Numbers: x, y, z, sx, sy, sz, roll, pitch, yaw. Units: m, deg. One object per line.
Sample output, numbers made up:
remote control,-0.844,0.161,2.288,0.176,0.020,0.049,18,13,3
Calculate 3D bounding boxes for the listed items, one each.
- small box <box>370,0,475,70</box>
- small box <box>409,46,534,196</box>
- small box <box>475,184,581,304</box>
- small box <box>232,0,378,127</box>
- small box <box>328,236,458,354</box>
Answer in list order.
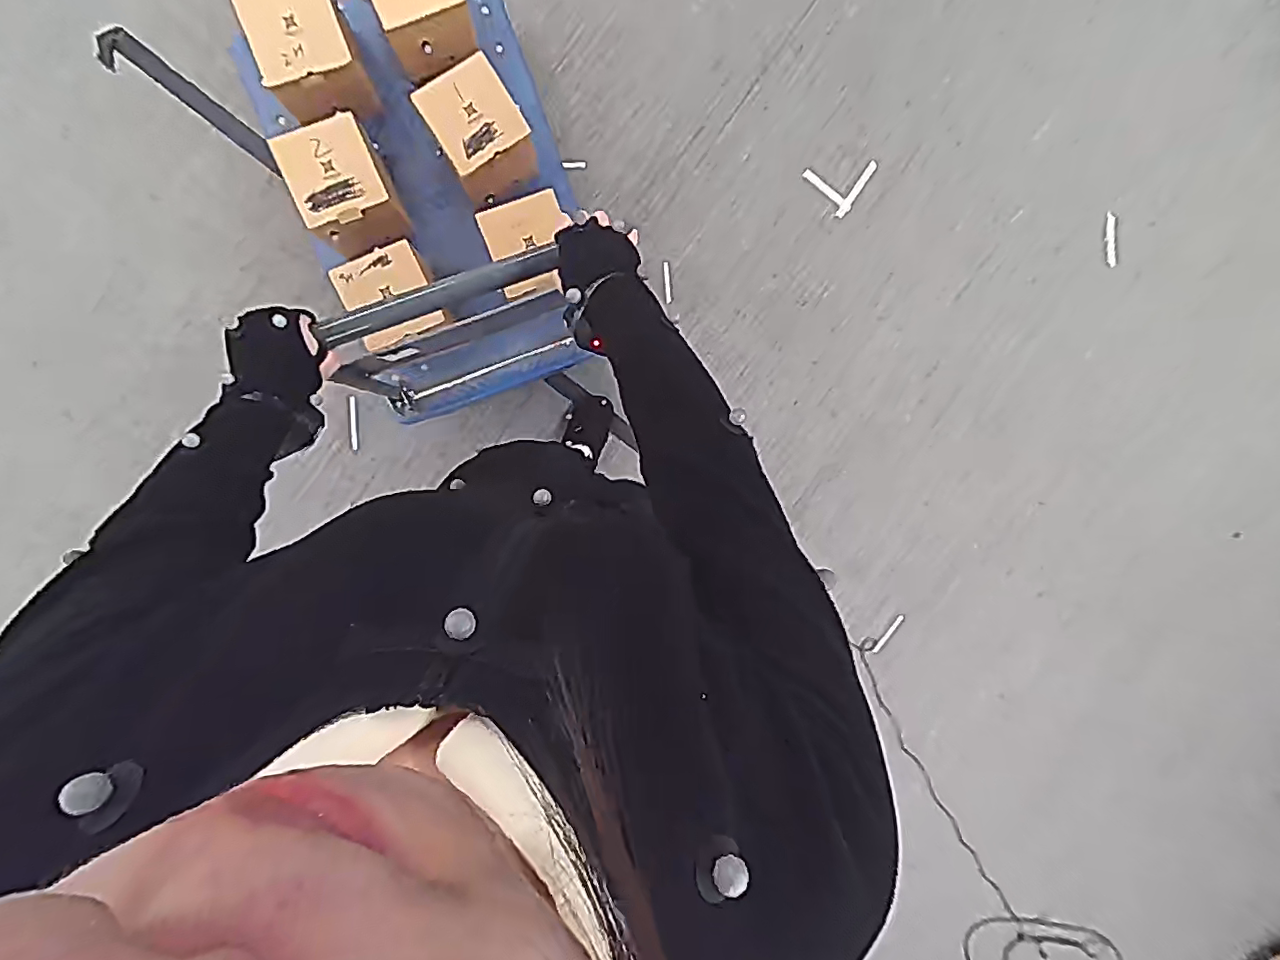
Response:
small box,-0.450,-0.968,1.078,0.168,0.176,0.179,-25,99,-3
small box,-0.336,-0.723,1.120,0.168,0.176,0.179,-34,99,-2
small box,-0.231,-0.492,1.161,0.168,0.176,0.179,-22,98,-5
small box,-0.651,-0.847,1.066,0.168,0.176,0.179,-20,99,-4
small box,-0.504,-0.376,1.137,0.168,0.176,0.179,-25,99,-5
